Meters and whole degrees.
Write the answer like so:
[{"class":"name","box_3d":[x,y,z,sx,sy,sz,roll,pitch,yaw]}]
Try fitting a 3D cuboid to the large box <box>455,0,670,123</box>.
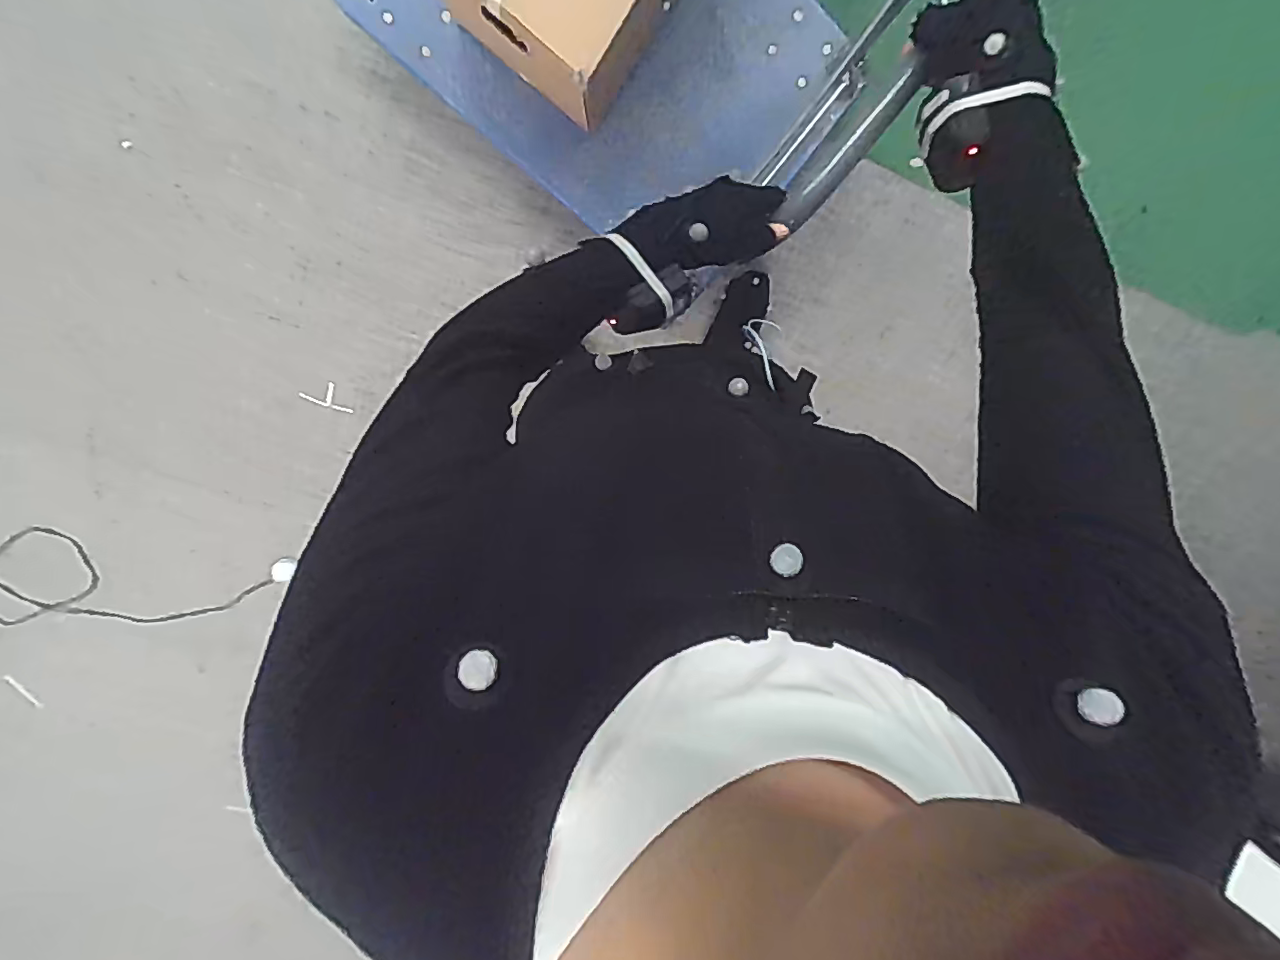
[{"class":"large box","box_3d":[-0.084,-0.875,0.838,0.320,0.320,0.408,34,106,-14]}]
